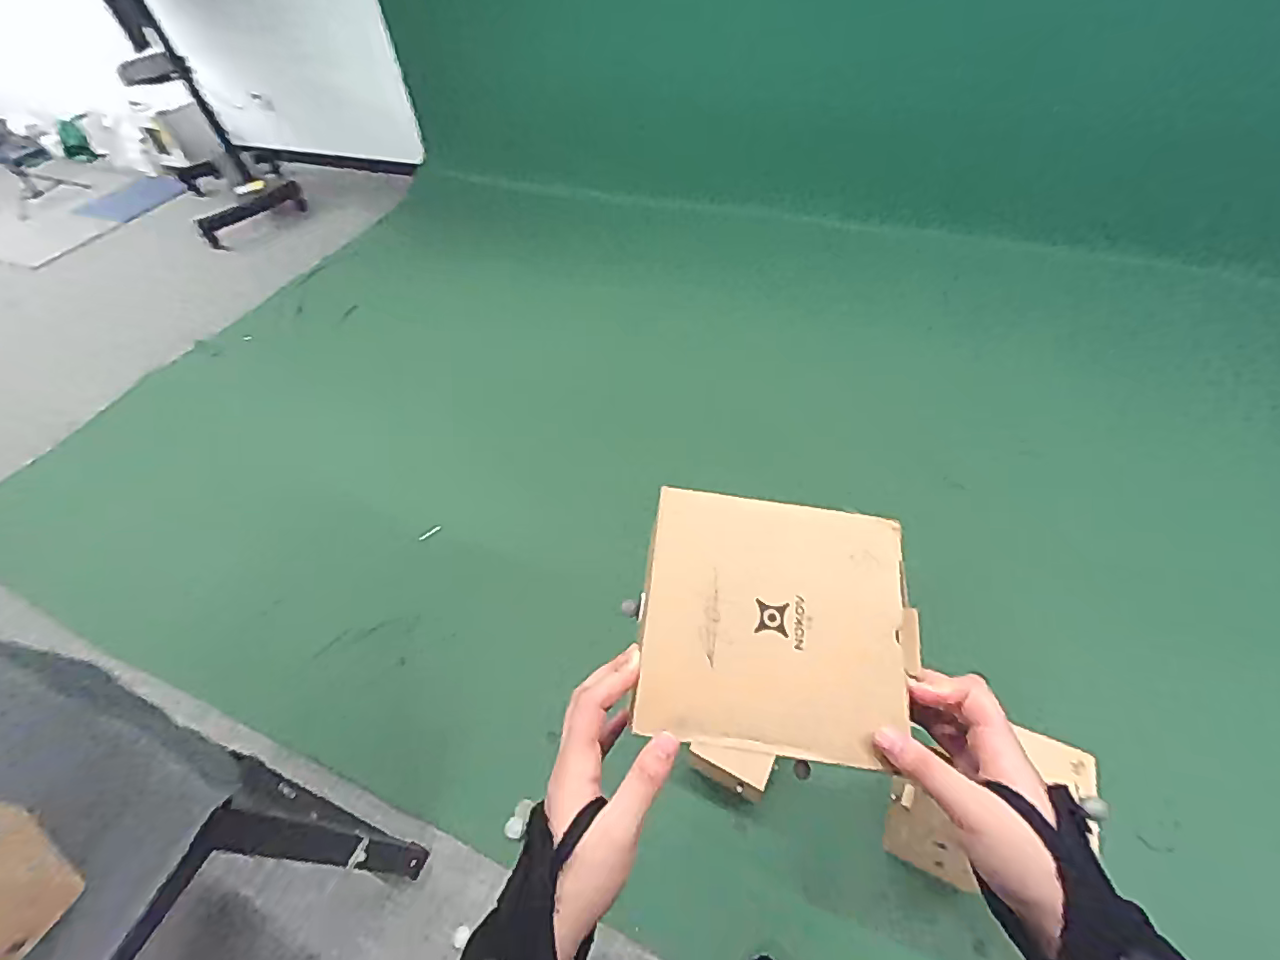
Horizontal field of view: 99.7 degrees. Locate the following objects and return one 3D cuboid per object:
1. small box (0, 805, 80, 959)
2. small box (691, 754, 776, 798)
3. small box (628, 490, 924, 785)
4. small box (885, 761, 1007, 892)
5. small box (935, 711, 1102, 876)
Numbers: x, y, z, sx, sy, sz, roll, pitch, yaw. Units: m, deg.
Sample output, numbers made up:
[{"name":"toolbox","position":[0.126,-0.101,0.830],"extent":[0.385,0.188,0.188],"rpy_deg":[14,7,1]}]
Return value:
[{"name":"small box","position":[-0.752,0.441,0.546],"extent":[0.179,0.176,0.168],"rpy_deg":[19,56,22]},{"name":"small box","position":[0.232,0.614,1.260],"extent":[0.179,0.176,0.168],"rpy_deg":[21,56,21]},{"name":"small box","position":[0.087,0.122,0.418],"extent":[0.179,0.176,0.168],"rpy_deg":[7,66,2]},{"name":"small box","position":[0.641,0.726,1.135],"extent":[0.179,0.176,0.168],"rpy_deg":[19,56,20]},{"name":"small box","position":[0.608,0.516,0.885],"extent":[0.179,0.176,0.168],"rpy_deg":[18,55,20]}]
